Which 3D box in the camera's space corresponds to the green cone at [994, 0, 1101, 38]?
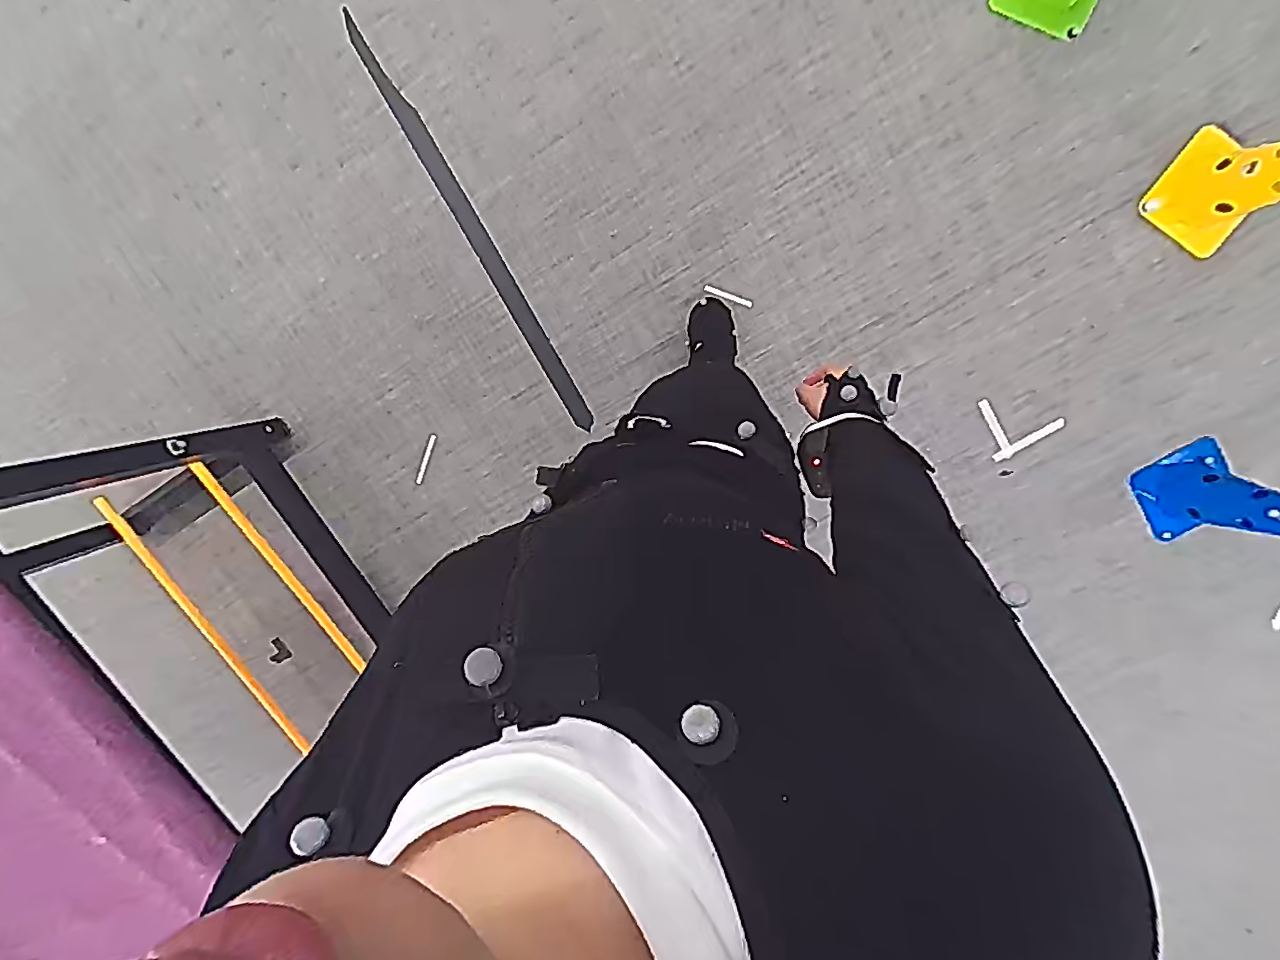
[{"bbox_3d":[0.823,-0.980,0.909,0.202,0.368,0.200,21,103,0],"label":"green cone"}]
